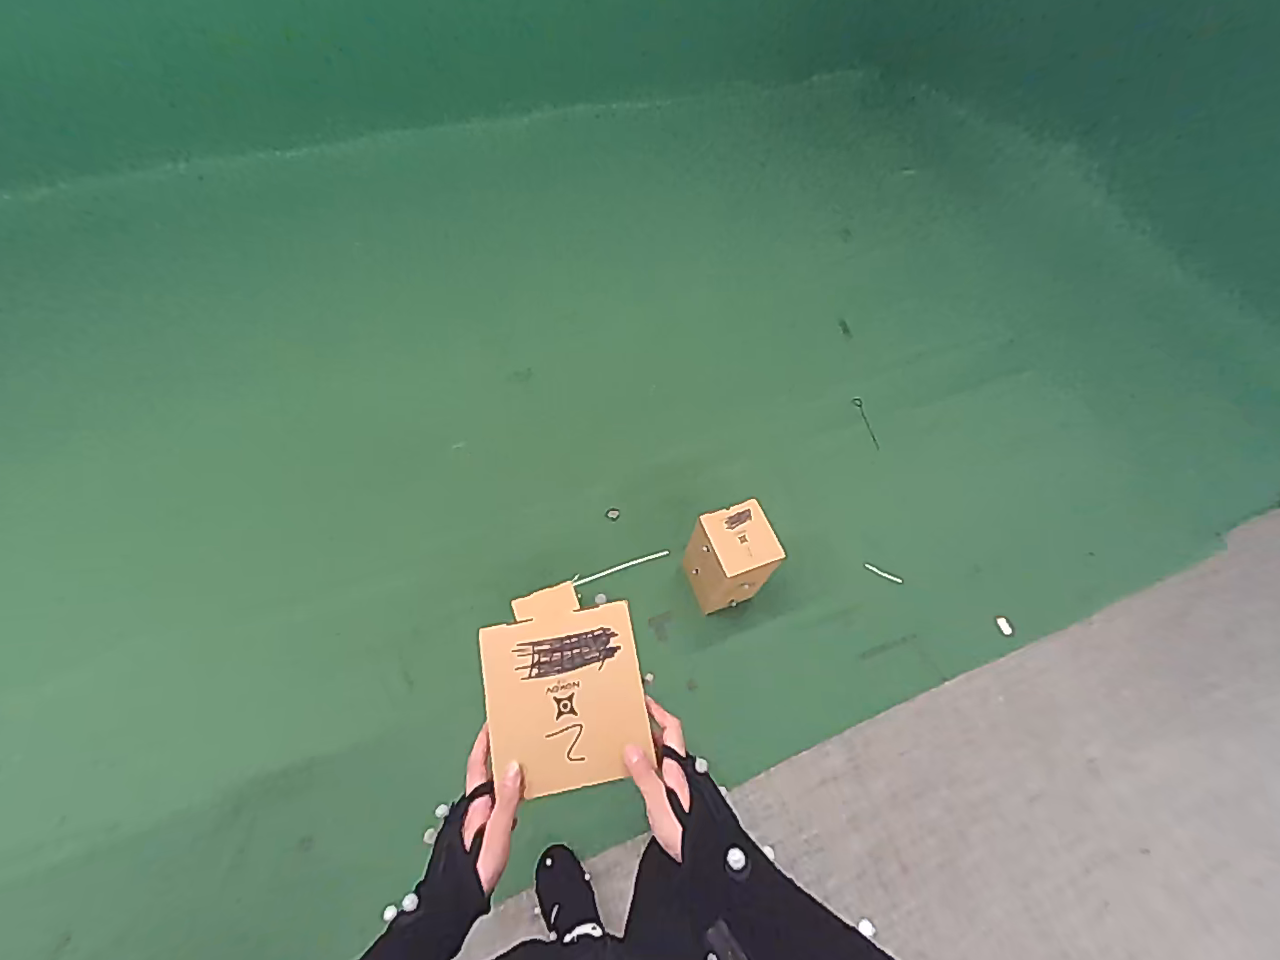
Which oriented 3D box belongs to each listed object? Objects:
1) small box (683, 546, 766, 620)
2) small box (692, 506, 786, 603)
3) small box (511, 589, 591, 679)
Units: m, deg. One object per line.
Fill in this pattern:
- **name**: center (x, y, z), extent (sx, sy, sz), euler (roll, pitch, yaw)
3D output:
- **small box**: center (0.235, 0.281, 1.564), extent (0.168, 0.176, 0.179), euler (-16, 63, -13)
- **small box**: center (0.249, 0.199, 1.423), extent (0.168, 0.176, 0.179), euler (-17, 63, -14)
- **small box**: center (-0.234, 0.420, 1.449), extent (0.168, 0.176, 0.179), euler (-17, 62, -14)
